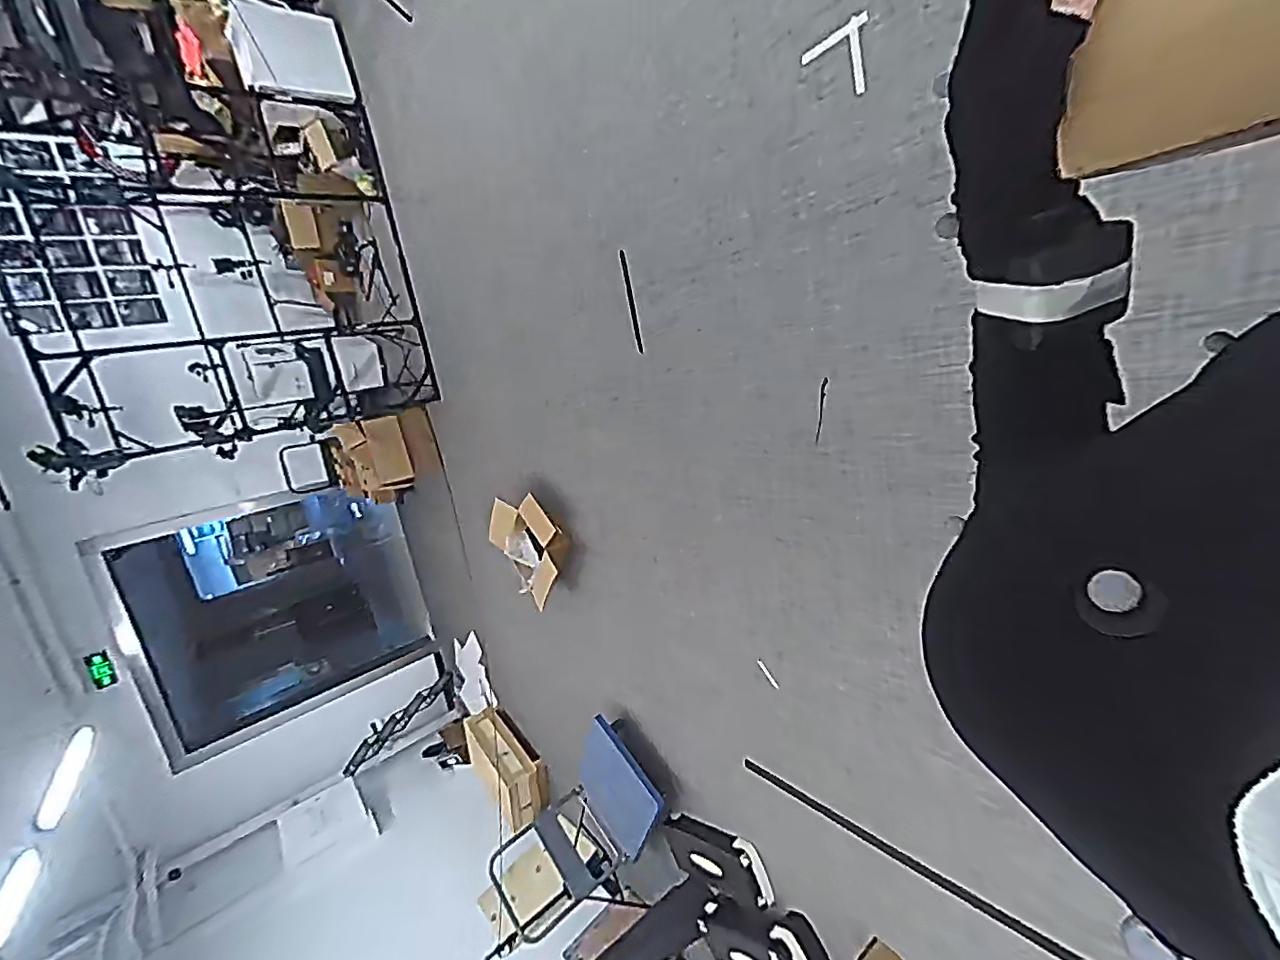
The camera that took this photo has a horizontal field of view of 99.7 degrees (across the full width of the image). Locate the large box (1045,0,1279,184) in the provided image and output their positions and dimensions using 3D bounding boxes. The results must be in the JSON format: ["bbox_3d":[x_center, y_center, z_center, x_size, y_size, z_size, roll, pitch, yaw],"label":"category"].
[{"bbox_3d":[0.426,-0.352,0.190,0.408,0.320,0.320,5,115,51],"label":"large box"}]
